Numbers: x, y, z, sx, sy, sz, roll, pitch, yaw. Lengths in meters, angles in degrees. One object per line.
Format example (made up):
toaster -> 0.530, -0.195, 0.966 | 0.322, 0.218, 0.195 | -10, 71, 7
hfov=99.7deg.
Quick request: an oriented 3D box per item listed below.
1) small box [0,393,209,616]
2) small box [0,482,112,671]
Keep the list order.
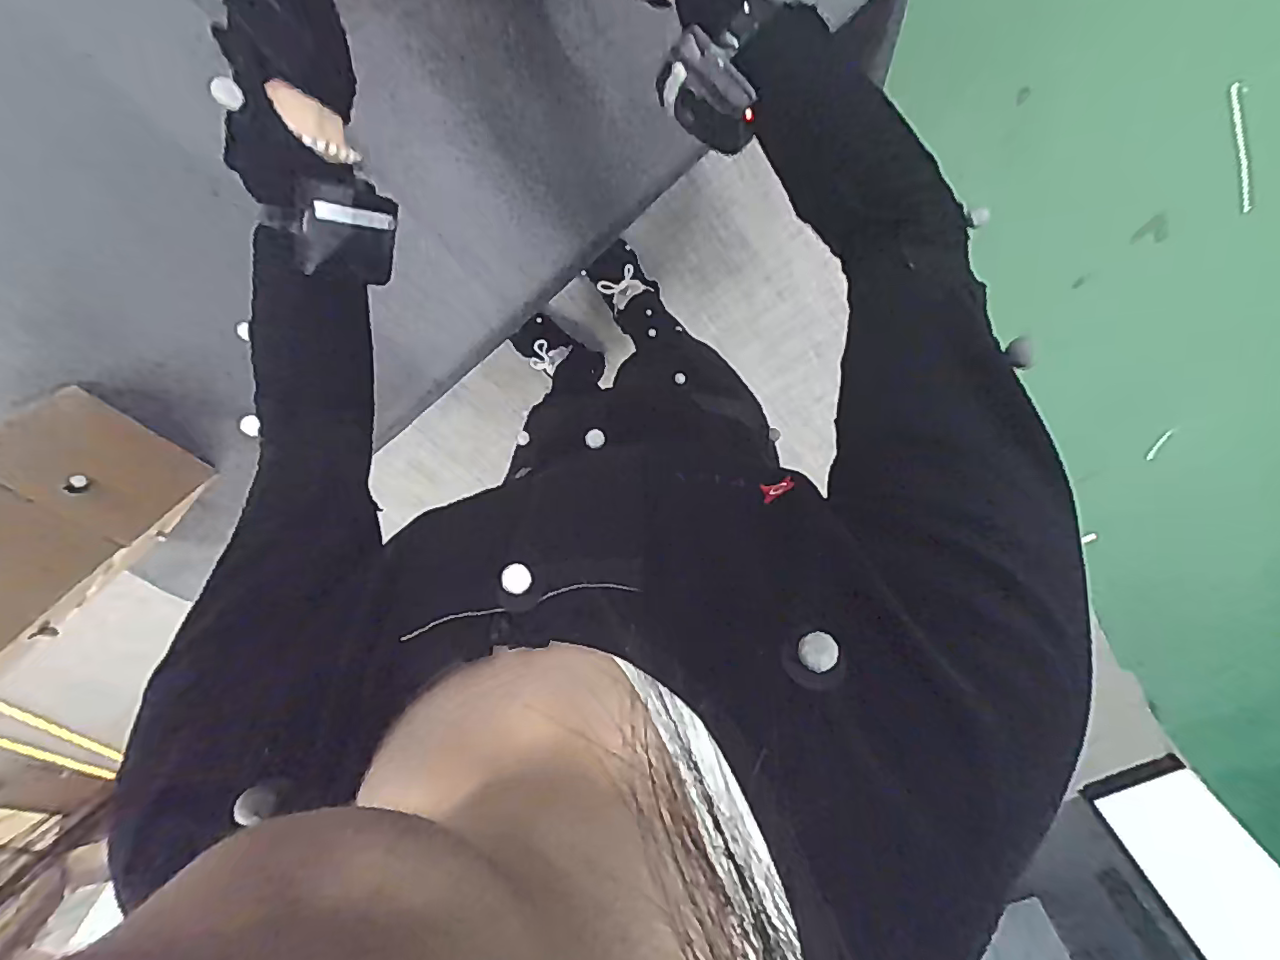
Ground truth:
small box -> -0.681, 0.019, 0.643 | 0.168, 0.176, 0.179 | -38, 118, 19
small box -> -0.672, 0.106, 0.505 | 0.168, 0.176, 0.179 | -38, 118, 18
